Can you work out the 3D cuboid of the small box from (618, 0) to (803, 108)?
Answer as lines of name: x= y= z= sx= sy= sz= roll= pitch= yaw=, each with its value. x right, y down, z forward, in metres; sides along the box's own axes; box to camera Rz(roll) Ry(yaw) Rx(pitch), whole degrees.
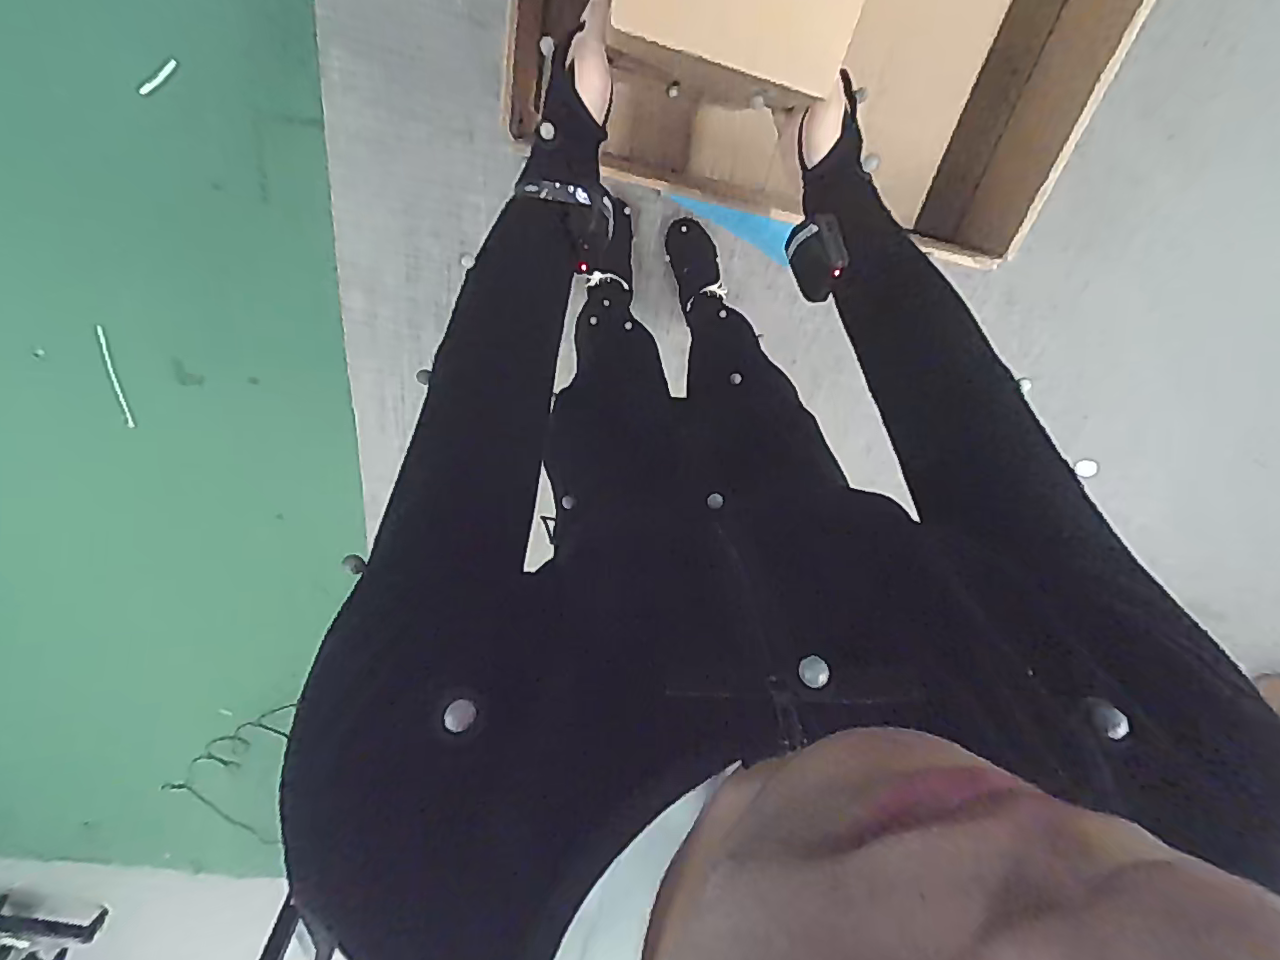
small box: x=0.071 y=-0.508 z=0.556 sx=0.168 sy=0.176 sz=0.179 roll=9 pitch=121 yaw=-7
